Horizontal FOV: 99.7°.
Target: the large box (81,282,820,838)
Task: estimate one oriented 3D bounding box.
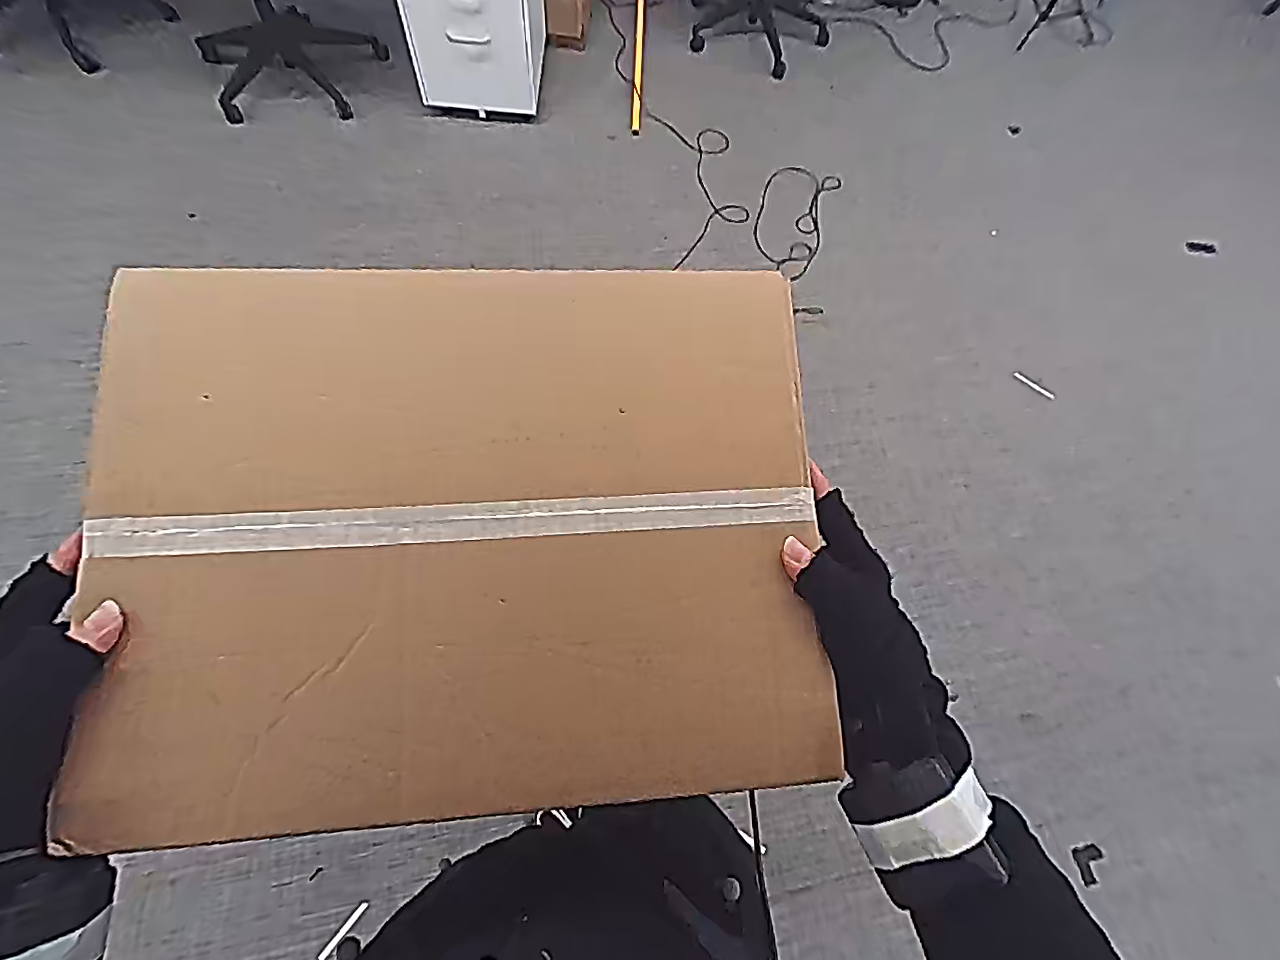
[{"bbox_3d":[-0.112,0.049,0.467,0.408,0.320,0.320,-2,79,-6],"label":"large box"}]
